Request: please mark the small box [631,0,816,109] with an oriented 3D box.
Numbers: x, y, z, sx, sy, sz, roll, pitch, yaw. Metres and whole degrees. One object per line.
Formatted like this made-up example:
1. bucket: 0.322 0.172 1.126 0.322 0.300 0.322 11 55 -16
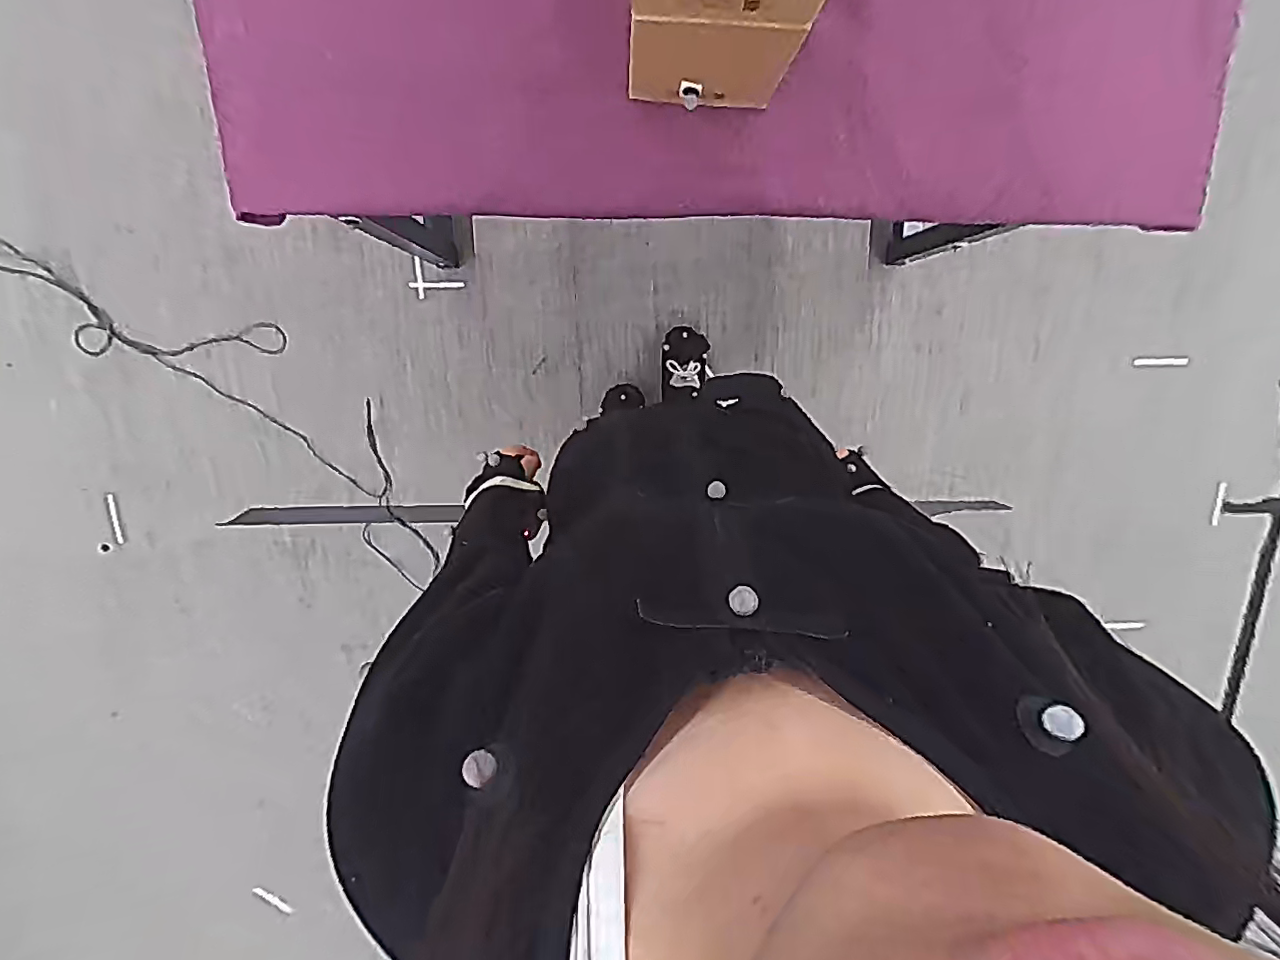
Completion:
1. small box: 0.077 -0.516 0.549 0.168 0.176 0.179 1 103 -2
